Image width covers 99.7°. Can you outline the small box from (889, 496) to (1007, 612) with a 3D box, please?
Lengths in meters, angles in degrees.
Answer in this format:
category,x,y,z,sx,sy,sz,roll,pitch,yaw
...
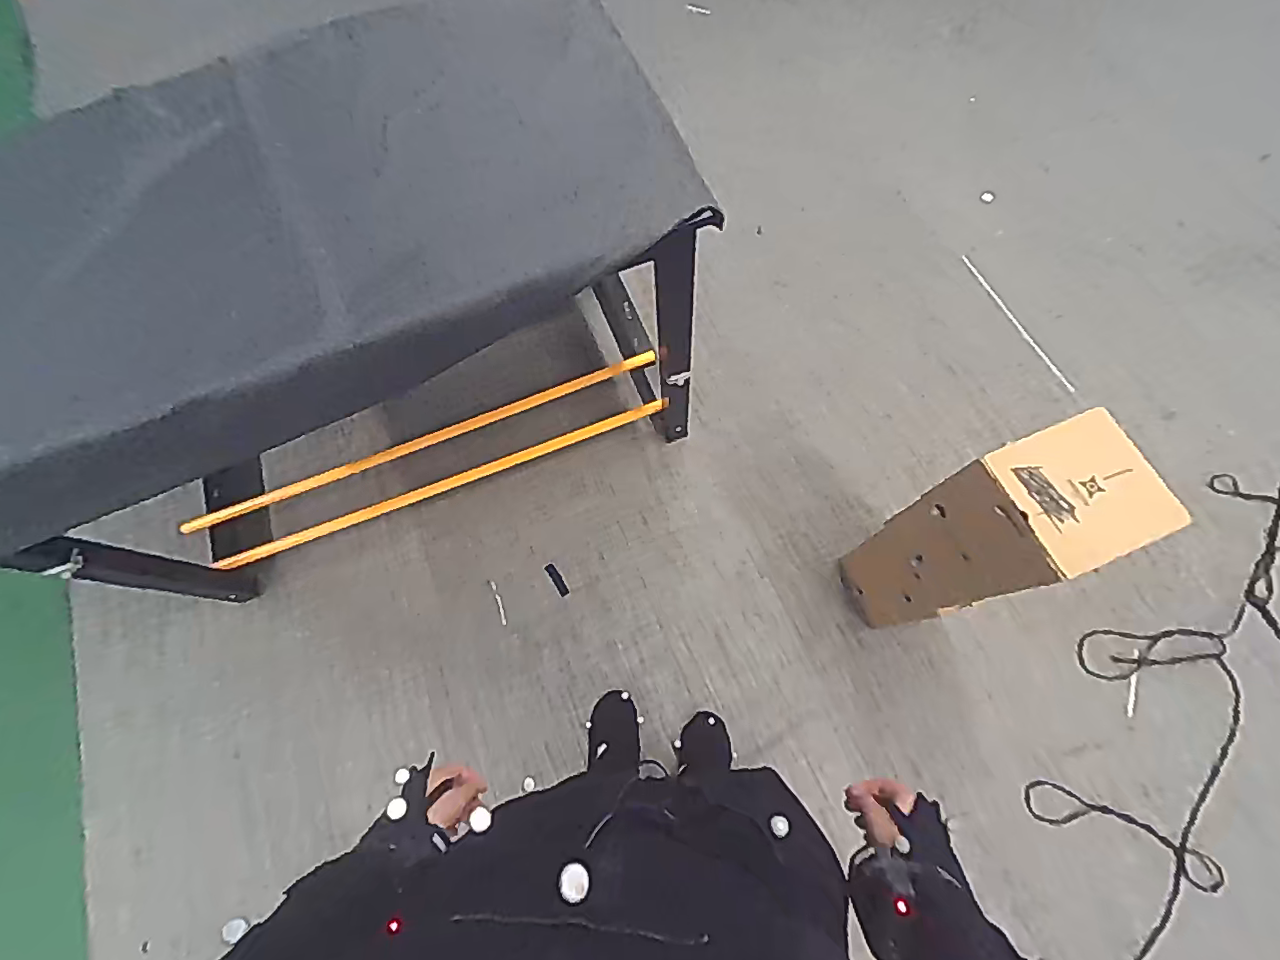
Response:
category,x,y,z,sx,sy,sz,roll,pitch,yaw
small box,0.538,0.098,0.860,0.179,0.176,0.168,-20,70,-4

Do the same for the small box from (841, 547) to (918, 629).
category,x,y,z,sx,sy,sz,roll,pitch,yaw
small box,0.564,0.213,1.164,0.168,0.176,0.179,-19,72,-4

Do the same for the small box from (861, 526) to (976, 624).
category,x,y,z,sx,sy,sz,roll,pitch,yaw
small box,0.550,0.159,1.013,0.168,0.176,0.179,-21,70,-5

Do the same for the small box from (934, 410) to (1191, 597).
category,x,y,z,sx,sy,sz,roll,pitch,yaw
small box,0.522,0.041,0.707,0.179,0.176,0.168,-22,71,-6
